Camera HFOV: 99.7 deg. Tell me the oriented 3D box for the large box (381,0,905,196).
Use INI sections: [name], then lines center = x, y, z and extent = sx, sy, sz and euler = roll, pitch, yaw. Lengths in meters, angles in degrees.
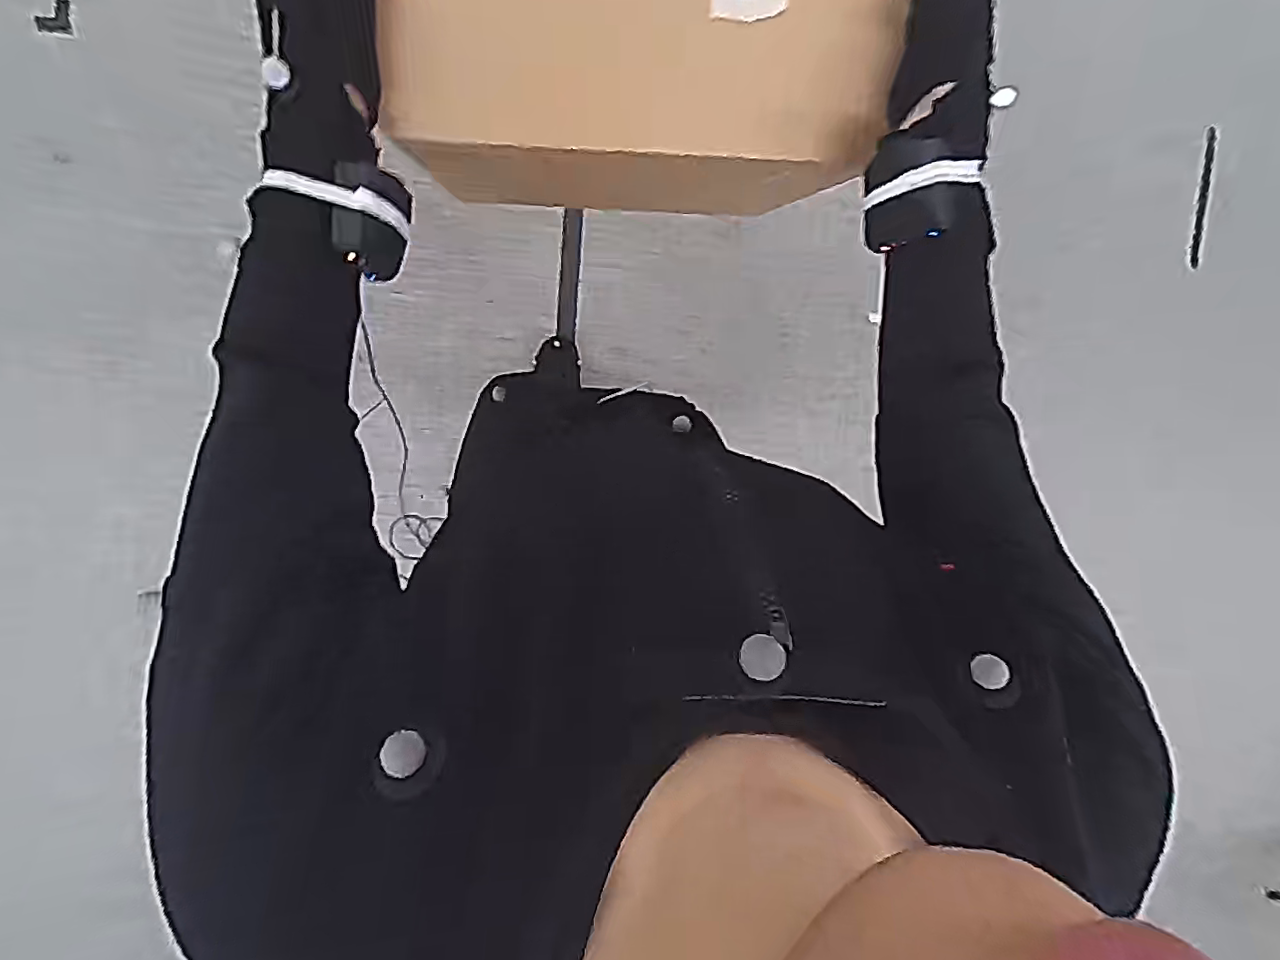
[large box]
center = -0.011, -0.471, 0.517
extent = 0.408, 0.320, 0.320
euler = -2, 110, -9
